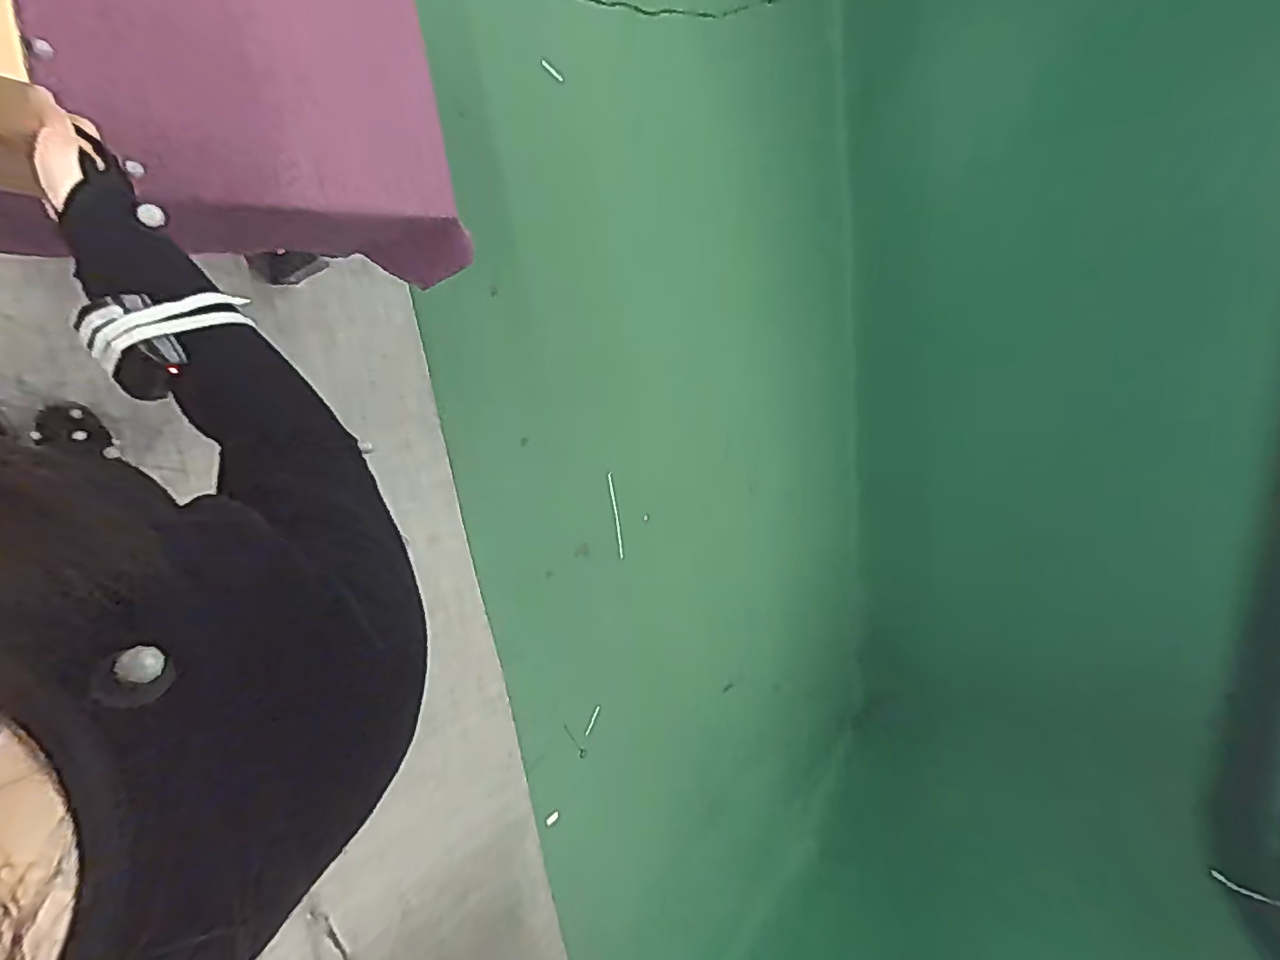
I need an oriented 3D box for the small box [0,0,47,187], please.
[{"bbox_3d":[-0.507,-0.309,0.332,0.179,0.176,0.168,-12,94,-42],"label":"small box"}]
